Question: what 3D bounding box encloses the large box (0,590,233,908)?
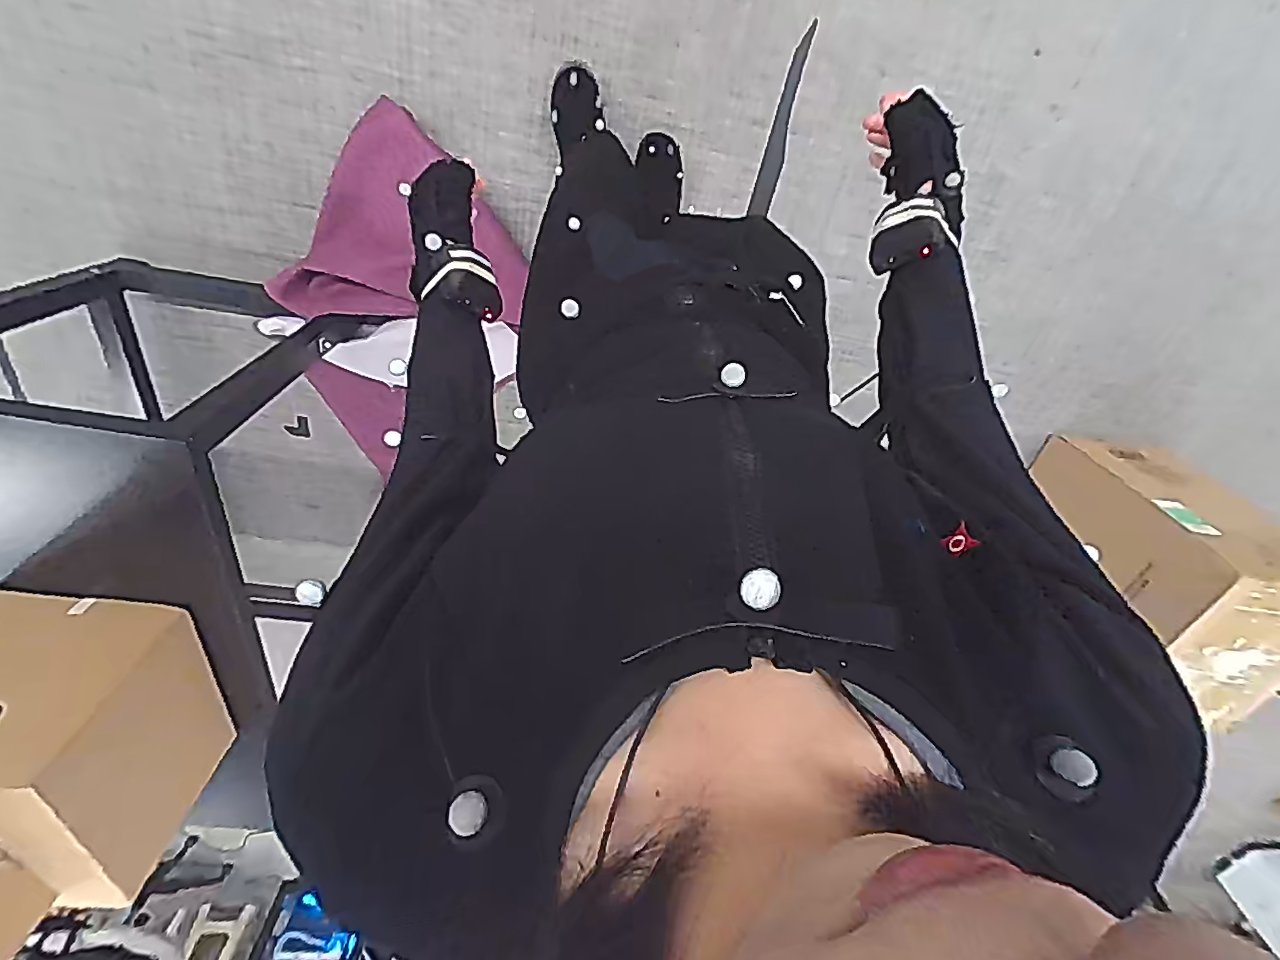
[{"bbox_3d":[-0.974,0.446,0.904,0.320,0.320,0.408,7,122,-7],"label":"large box"}]
